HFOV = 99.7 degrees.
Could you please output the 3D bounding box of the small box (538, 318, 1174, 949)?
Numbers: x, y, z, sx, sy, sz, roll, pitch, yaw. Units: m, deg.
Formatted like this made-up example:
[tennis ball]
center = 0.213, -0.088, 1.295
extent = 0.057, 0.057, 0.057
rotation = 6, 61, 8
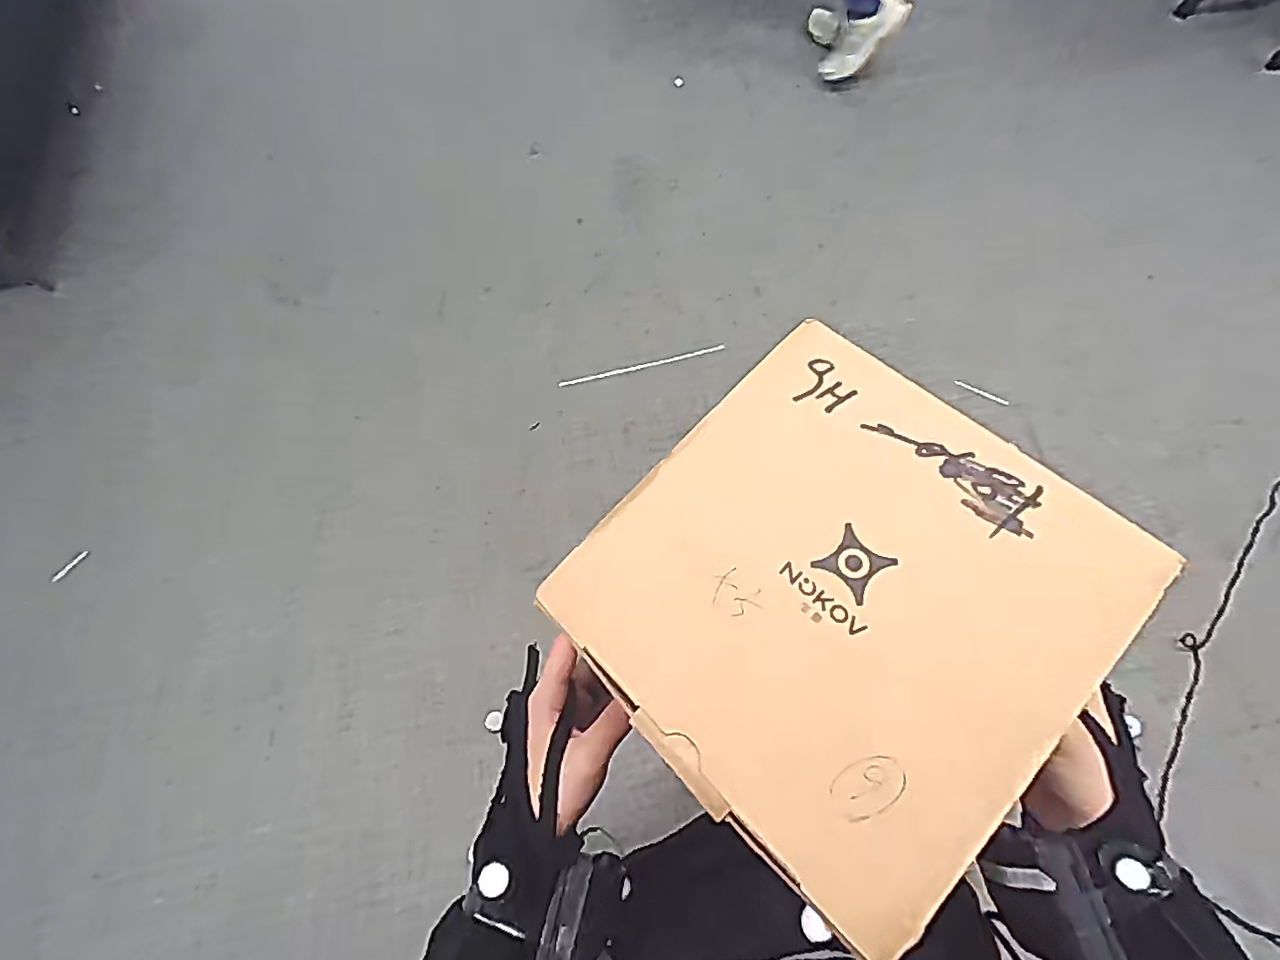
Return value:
[small box]
center = 0.085, 0.064, 0.278
extent = 0.179, 0.176, 0.168
rotation = -45, 69, -8
